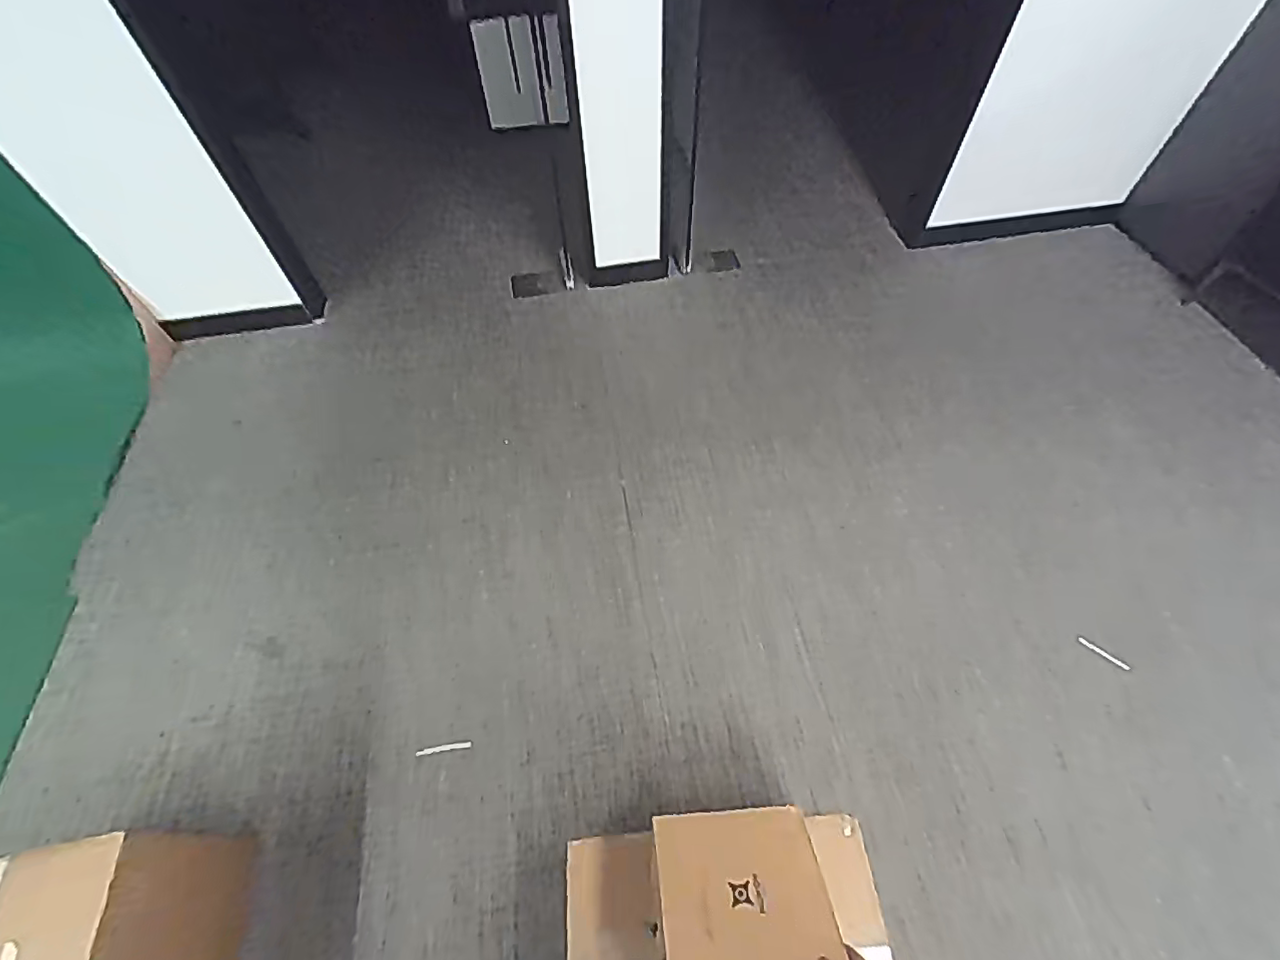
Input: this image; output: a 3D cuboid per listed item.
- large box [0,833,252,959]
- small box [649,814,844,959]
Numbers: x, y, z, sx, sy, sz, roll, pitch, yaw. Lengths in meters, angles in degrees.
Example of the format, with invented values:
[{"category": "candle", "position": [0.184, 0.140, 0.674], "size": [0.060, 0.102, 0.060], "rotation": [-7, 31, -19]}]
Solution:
[{"category": "large box", "position": [-0.837, 0.774, 0.766], "size": [0.320, 0.320, 0.408], "rotation": [-10, 55, -5]}, {"category": "small box", "position": [0.104, 0.501, 0.597], "size": [0.179, 0.176, 0.168], "rotation": [-2, 32, -4]}]
